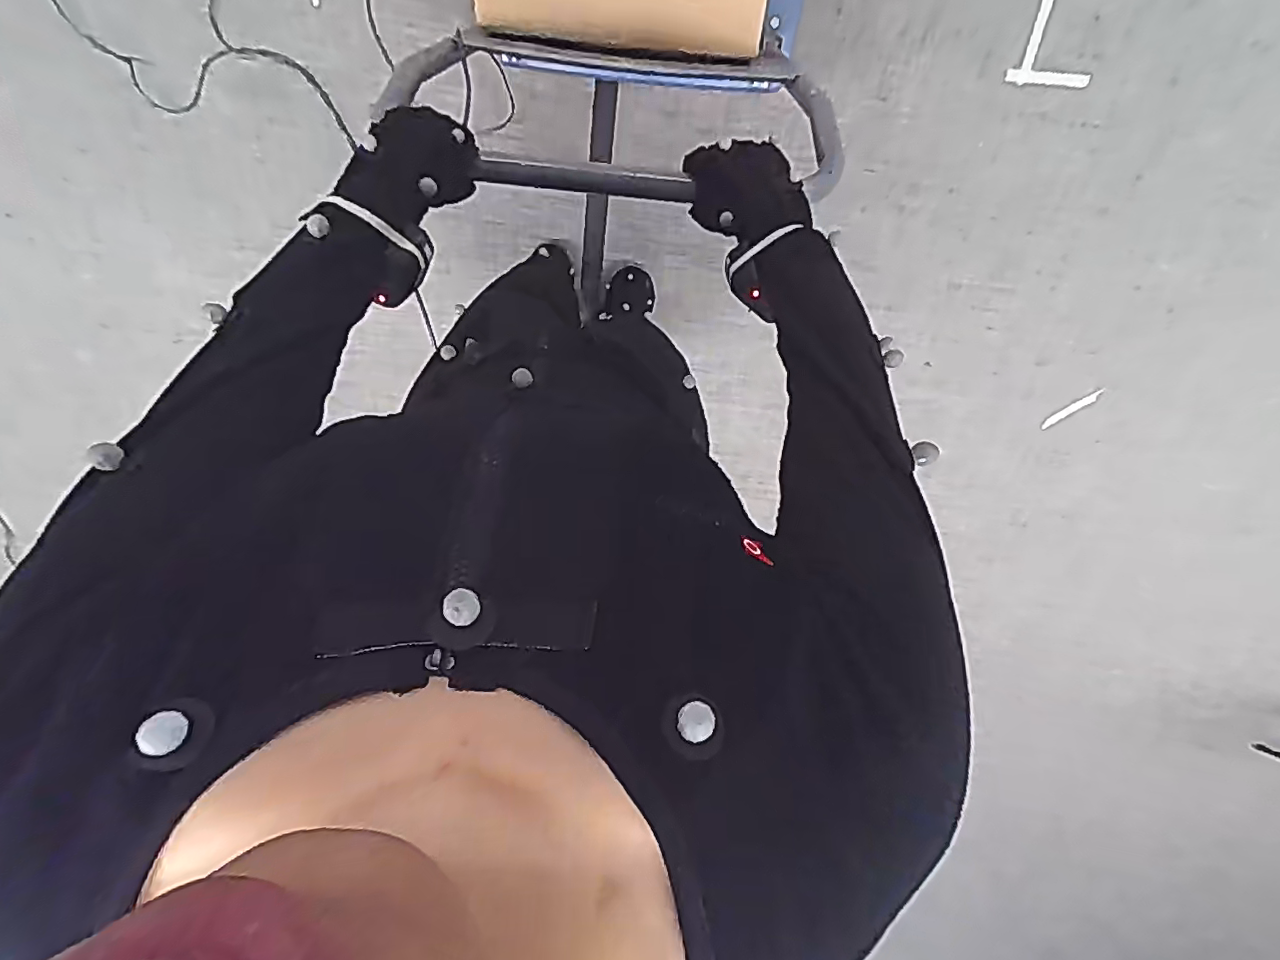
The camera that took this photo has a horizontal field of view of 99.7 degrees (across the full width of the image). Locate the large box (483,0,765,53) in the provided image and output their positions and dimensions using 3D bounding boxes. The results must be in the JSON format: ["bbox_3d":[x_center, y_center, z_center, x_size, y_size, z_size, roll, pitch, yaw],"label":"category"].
[{"bbox_3d":[-0.015,-0.850,0.799,0.408,0.320,0.320,4,132,-2],"label":"large box"}]
